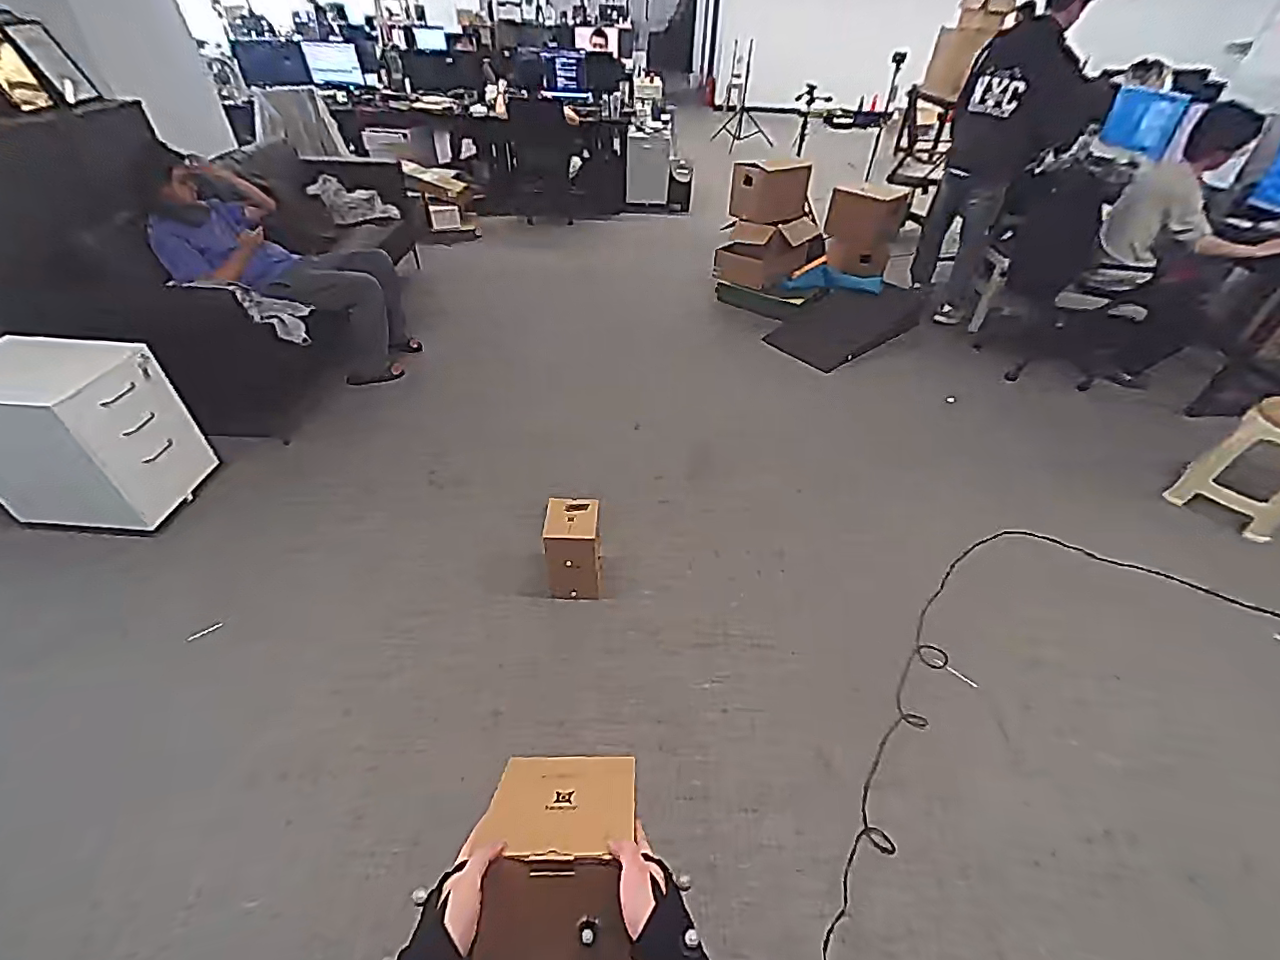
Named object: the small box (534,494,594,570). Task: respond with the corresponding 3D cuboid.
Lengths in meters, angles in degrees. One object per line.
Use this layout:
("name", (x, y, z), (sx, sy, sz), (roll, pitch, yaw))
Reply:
("small box", (-0.243, 0.169, 1.771), (0.168, 0.176, 0.179), (3, 41, 2))

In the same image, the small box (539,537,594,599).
("small box", (-0.252, 0.304, 1.900), (0.179, 0.176, 0.168), (1, 43, -2))
